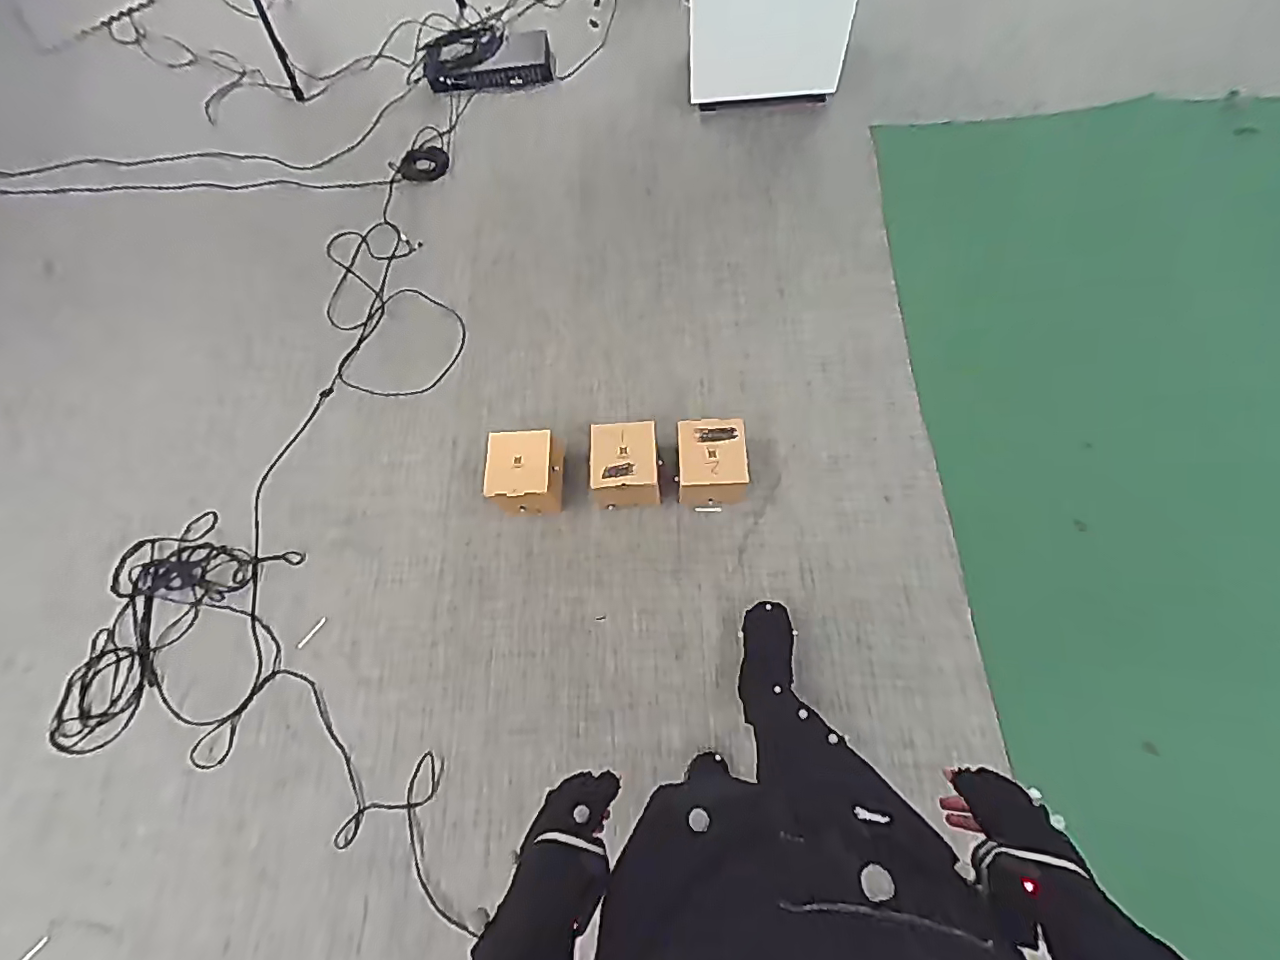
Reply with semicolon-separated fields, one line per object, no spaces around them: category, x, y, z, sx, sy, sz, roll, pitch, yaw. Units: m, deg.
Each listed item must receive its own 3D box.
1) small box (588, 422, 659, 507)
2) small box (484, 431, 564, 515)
small box;-0.040;-0.034;1.432;0.168;0.176;0.179;-3;67;5
small box;-0.305;-0.015;1.454;0.168;0.176;0.179;-3;69;5
